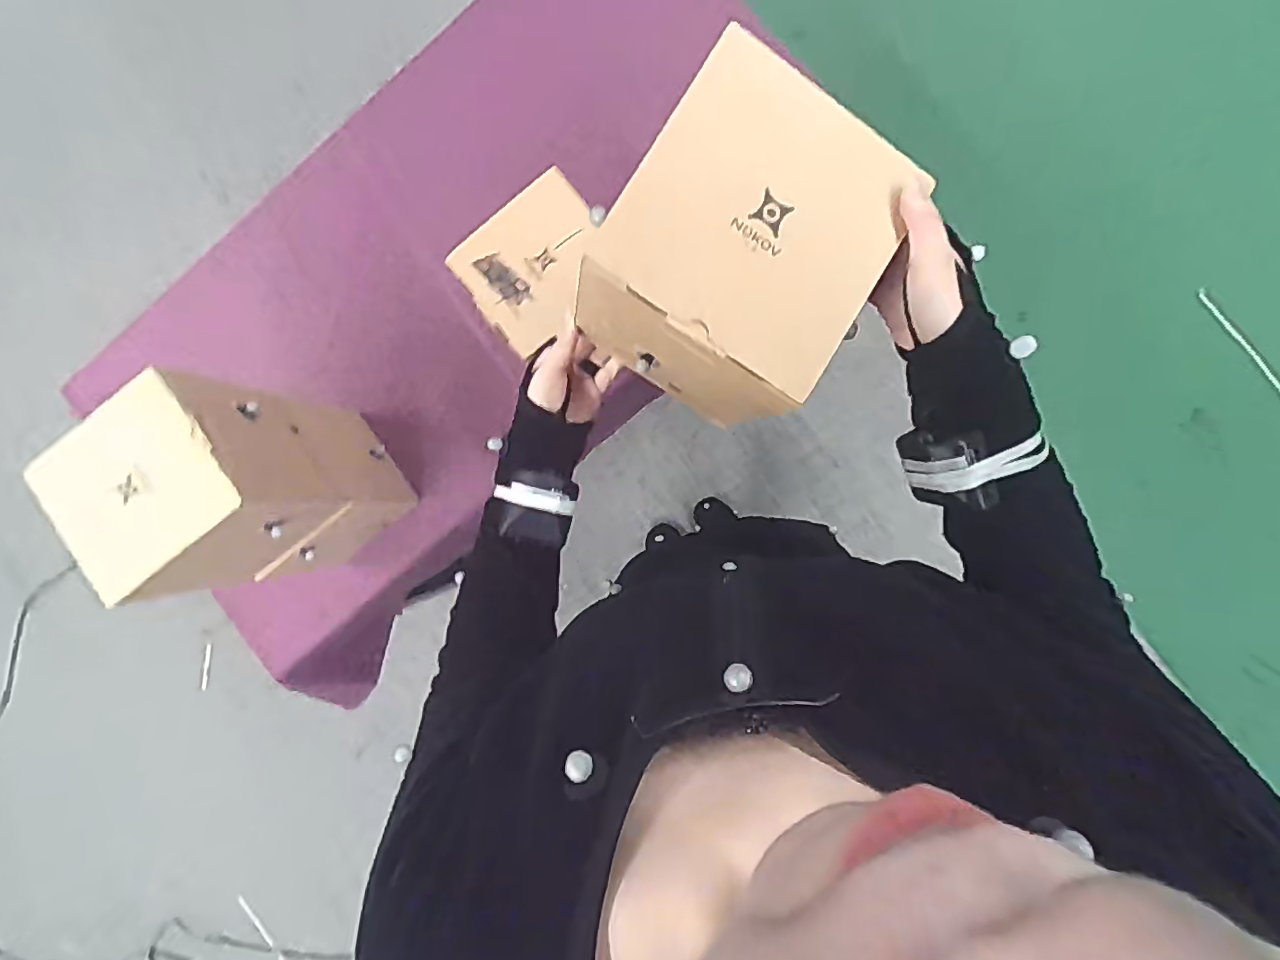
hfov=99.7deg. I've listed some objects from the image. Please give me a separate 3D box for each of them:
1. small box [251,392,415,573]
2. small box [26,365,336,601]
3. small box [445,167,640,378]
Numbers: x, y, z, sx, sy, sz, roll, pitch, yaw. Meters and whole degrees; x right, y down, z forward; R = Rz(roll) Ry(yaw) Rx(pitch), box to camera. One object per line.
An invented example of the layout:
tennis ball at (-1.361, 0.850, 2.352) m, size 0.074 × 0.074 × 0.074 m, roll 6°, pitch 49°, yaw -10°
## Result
small box at (-0.461, 0.006, 0.759) m, size 0.168 × 0.176 × 0.179 m, roll -37°, pitch 85°, yaw 5°
small box at (-0.477, 0.003, 0.596) m, size 0.179 × 0.176 × 0.168 m, roll -36°, pitch 85°, yaw 5°
small box at (-0.117, -0.261, 0.728) m, size 0.179 × 0.176 × 0.168 m, roll -38°, pitch 86°, yaw 4°
